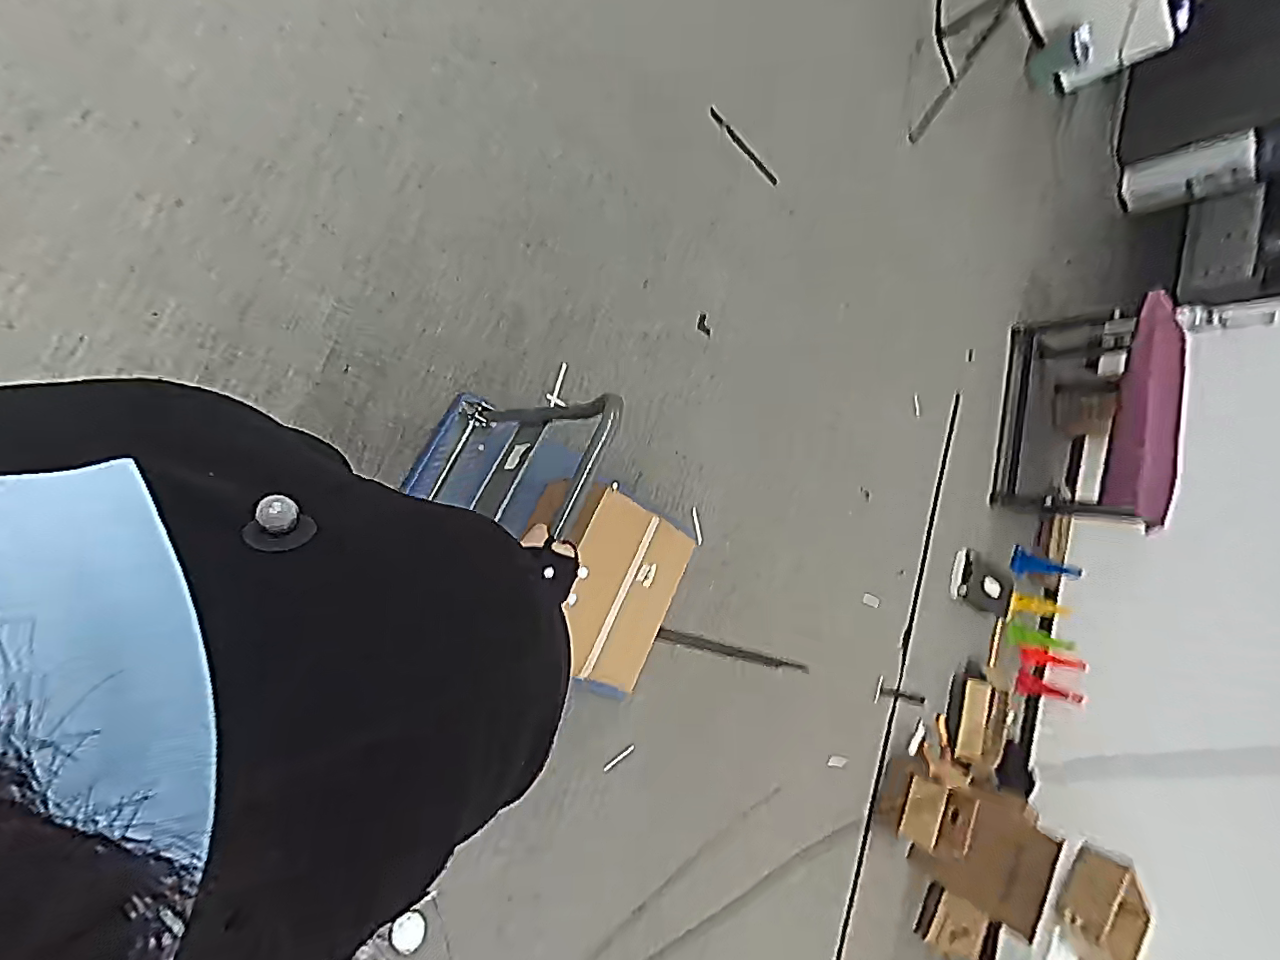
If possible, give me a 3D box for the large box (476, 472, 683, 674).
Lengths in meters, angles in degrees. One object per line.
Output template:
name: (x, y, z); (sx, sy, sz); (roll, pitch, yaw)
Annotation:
large box: (-0.158, 0.224, 1.394); (0.320, 0.320, 0.408); (34, 72, -33)
